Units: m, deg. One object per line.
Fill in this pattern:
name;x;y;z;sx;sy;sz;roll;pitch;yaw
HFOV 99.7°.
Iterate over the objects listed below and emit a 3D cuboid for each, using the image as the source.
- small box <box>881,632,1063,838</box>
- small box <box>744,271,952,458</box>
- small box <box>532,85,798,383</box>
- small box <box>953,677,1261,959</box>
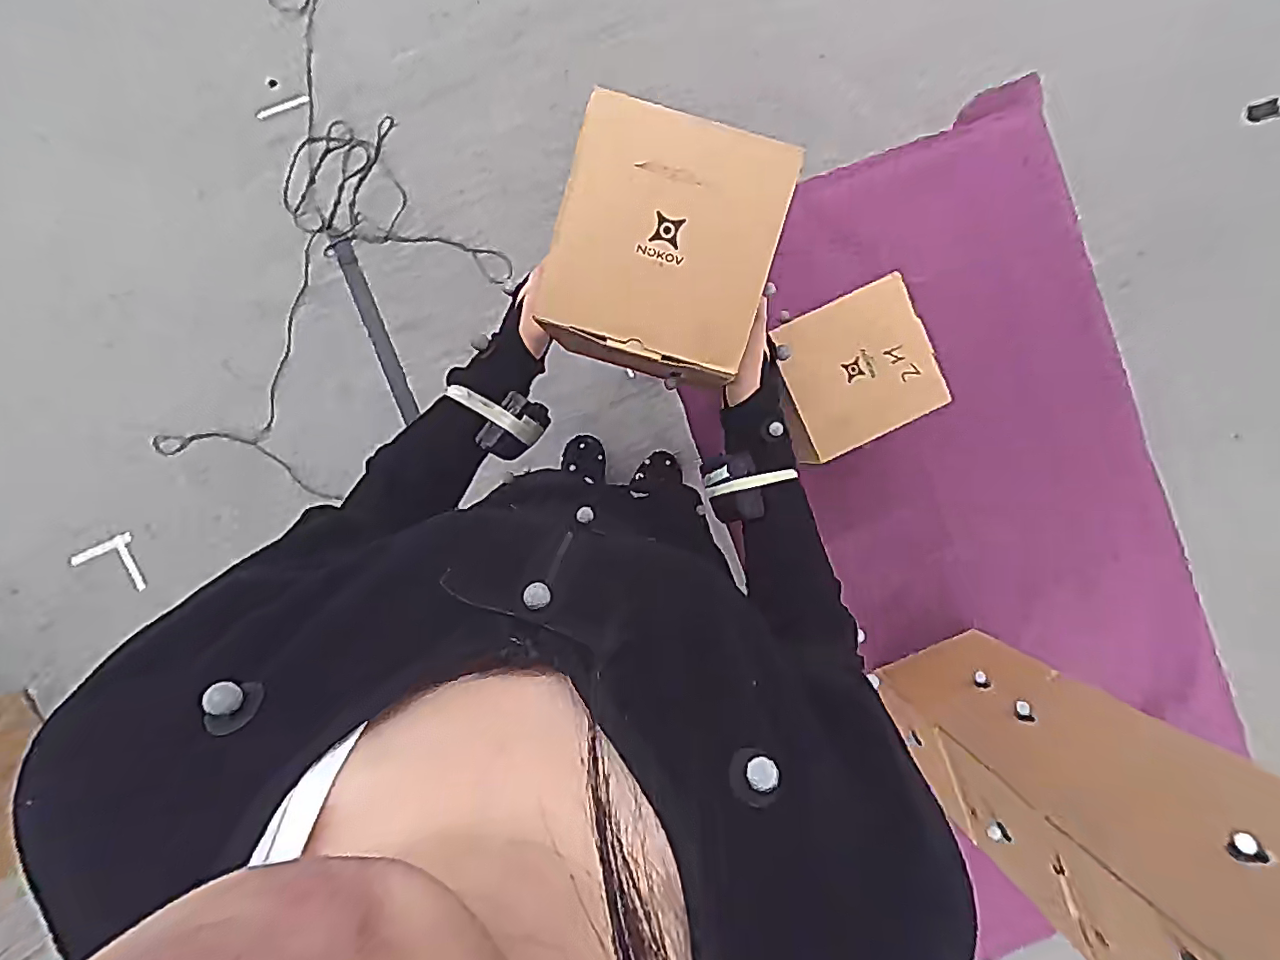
small box;0.462;0.336;0.747;0.179;0.176;0.168;-21;94;-2
small box;0.250;-0.136;0.703;0.179;0.176;0.168;-25;95;-2
small box;0.018;-0.193;0.484;0.168;0.176;0.179;15;95;-1
small box;0.475;0.344;0.584;0.179;0.176;0.168;-20;94;-1
